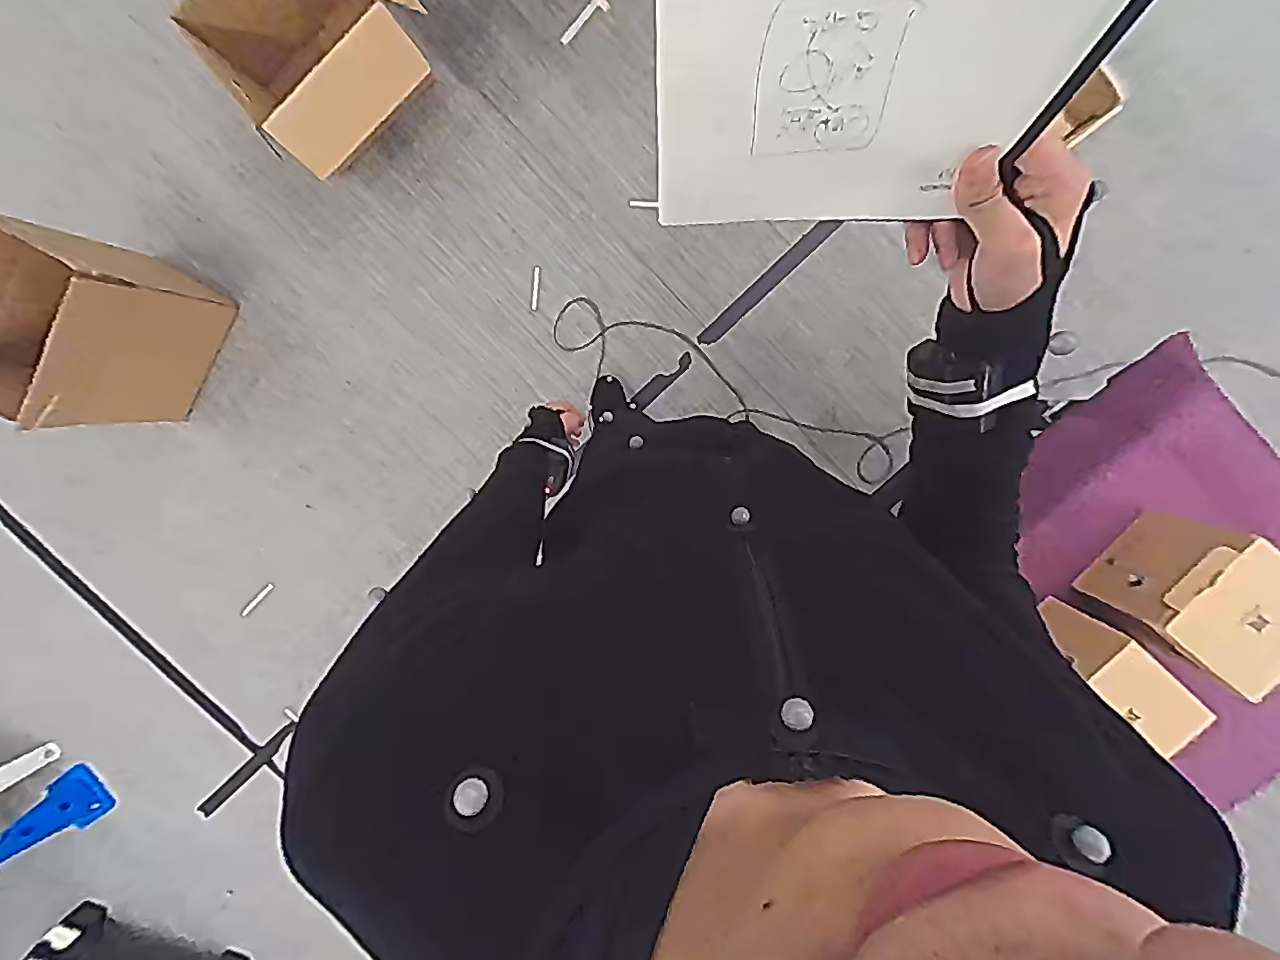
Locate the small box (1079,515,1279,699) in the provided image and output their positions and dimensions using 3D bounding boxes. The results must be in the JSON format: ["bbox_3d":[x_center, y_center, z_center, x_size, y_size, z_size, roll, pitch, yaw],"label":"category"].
[{"bbox_3d":[0.809,0.169,0.786,0.179,0.176,0.168,38,100,-3],"label":"small box"}]
